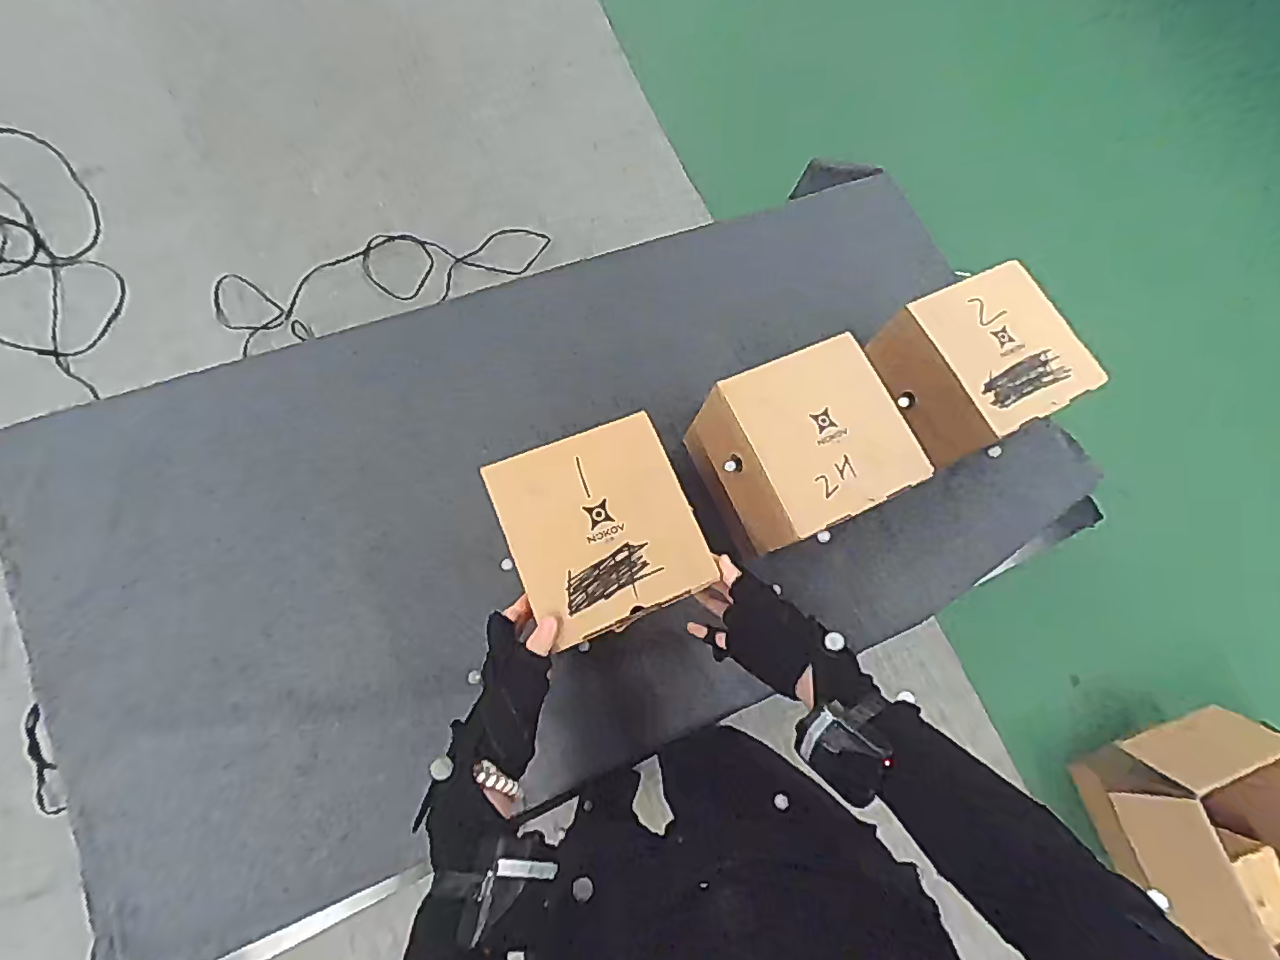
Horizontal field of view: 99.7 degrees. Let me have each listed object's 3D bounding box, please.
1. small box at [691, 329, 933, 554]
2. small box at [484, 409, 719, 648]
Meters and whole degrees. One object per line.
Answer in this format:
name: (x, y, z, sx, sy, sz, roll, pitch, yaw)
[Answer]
small box: (0.175, -0.034, 0.614, 0.168, 0.176, 0.179, -23, 79, -12)
small box: (-0.043, 0.057, 0.559, 0.168, 0.176, 0.179, -21, 77, -13)
